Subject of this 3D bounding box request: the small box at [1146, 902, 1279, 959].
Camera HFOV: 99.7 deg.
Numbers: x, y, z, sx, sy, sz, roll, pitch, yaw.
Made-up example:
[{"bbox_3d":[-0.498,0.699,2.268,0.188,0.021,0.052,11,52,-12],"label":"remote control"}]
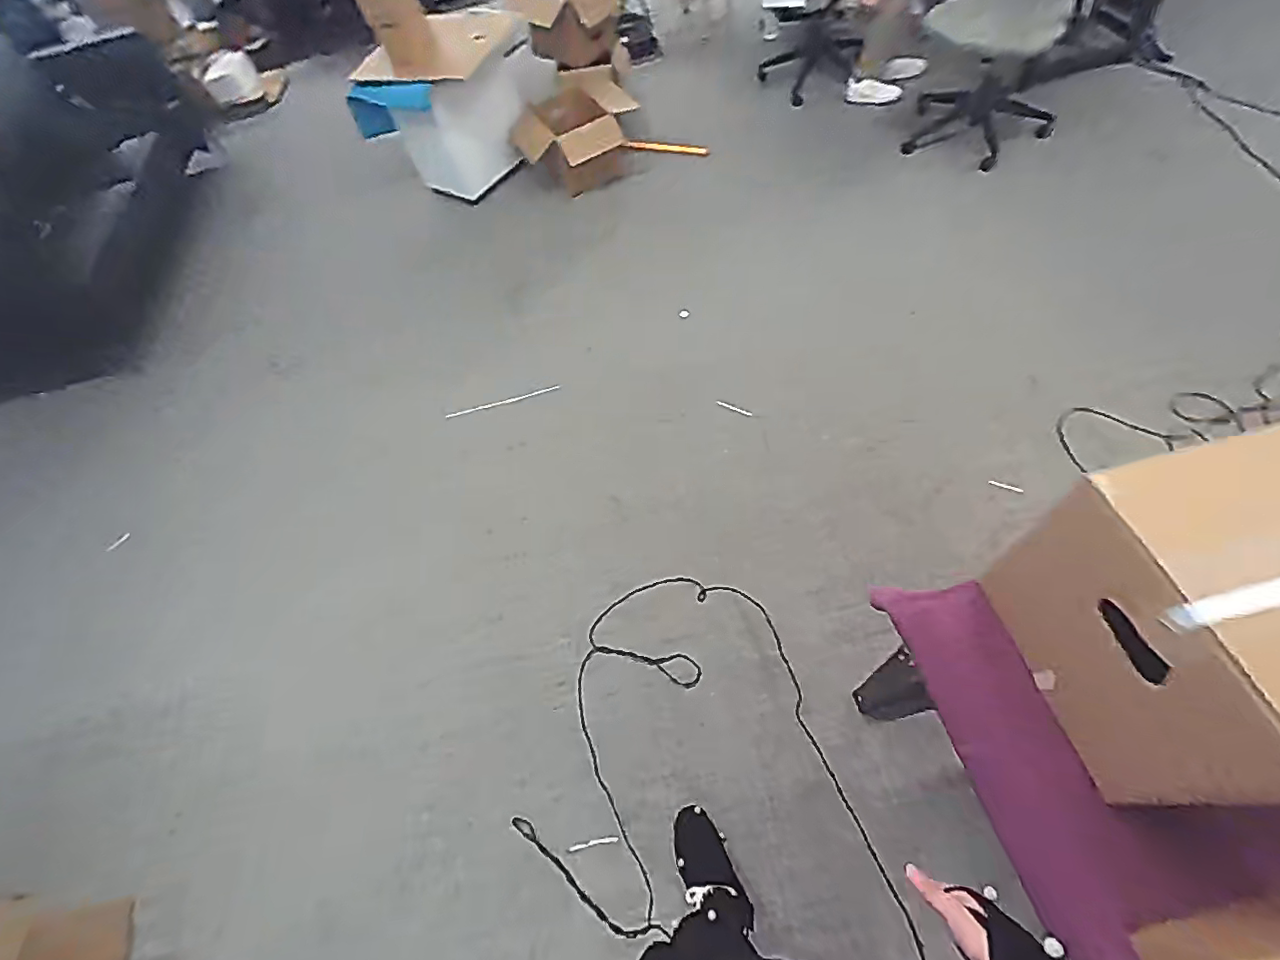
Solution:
[{"bbox_3d":[0.644,0.511,0.493,0.179,0.176,0.168,-15,56,-1],"label":"small box"}]
